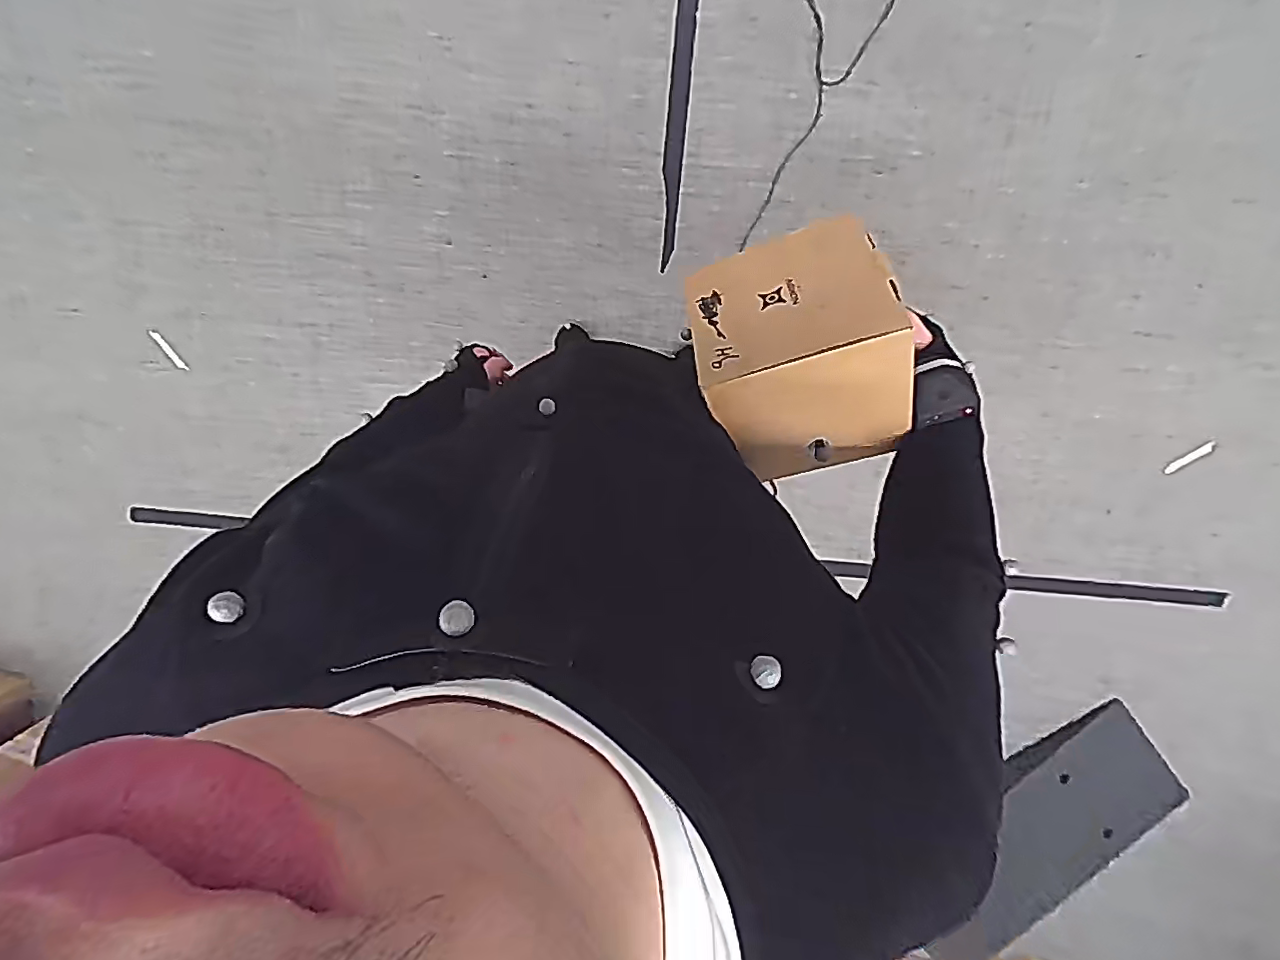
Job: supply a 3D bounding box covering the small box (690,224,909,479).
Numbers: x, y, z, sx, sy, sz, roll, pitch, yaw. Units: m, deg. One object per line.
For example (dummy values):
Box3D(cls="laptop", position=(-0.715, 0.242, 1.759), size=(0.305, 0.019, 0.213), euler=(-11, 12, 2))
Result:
Box3D(cls="small box", position=(0.164, -0.124, 0.569), size=(0.179, 0.168, 0.176), euler=(-14, 142, 16))
